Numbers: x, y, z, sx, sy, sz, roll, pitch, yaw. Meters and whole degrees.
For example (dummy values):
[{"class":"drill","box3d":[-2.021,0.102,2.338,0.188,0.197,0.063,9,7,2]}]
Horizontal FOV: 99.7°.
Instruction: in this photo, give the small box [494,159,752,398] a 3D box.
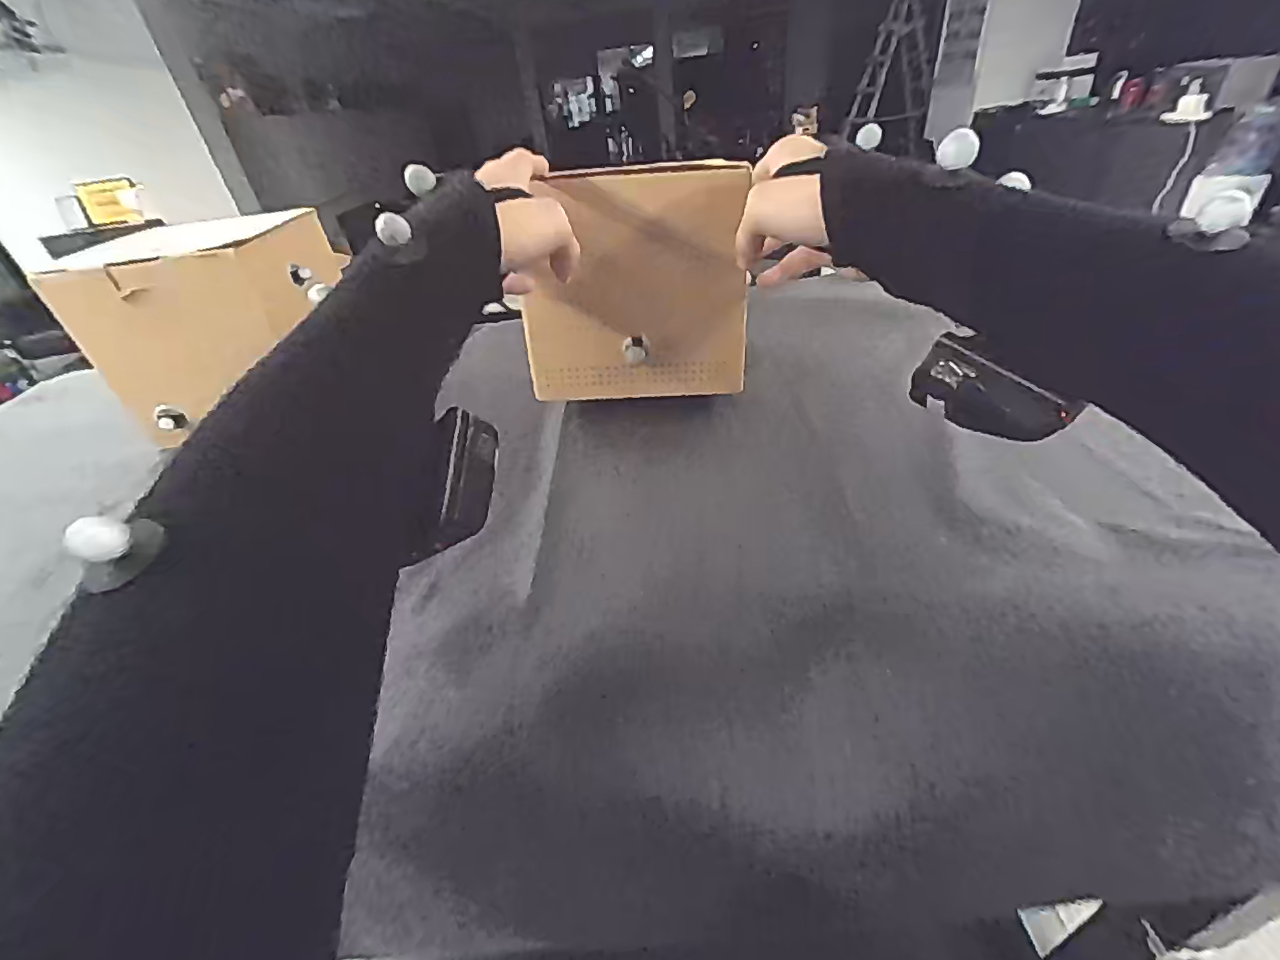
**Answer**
[{"class":"small box","box3d":[-0.009,-0.177,0.469,0.179,0.176,0.168,-1,29,1]}]

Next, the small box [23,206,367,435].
[{"class":"small box","box3d":[-0.402,-0.155,0.537,0.168,0.176,0.179,-9,36,-2]}]
